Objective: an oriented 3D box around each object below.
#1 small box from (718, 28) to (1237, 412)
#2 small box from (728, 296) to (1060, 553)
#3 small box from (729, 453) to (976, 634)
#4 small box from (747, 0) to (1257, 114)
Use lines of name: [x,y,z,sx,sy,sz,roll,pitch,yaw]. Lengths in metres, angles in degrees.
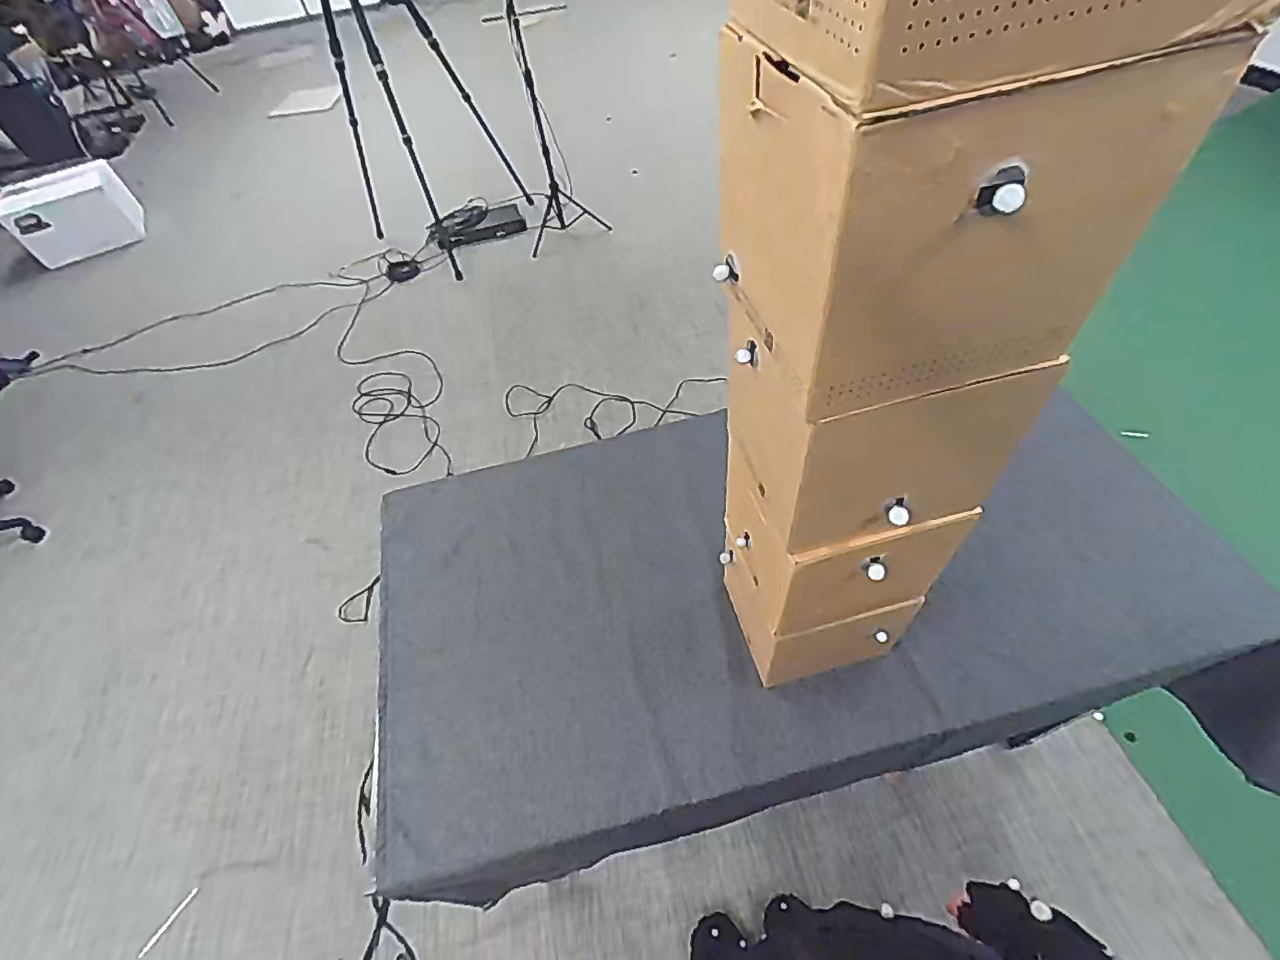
small box: [0.155,-0.164,0.328,0.179,0.176,0.168,-14,52,-3]
small box: [0.181,-0.062,0.455,0.179,0.176,0.168,-13,51,-2]
small box: [0.203,0.042,0.579,0.179,0.176,0.168,-15,52,-3]
small box: [0.140,-0.265,0.200,0.179,0.176,0.168,-13,53,-1]
